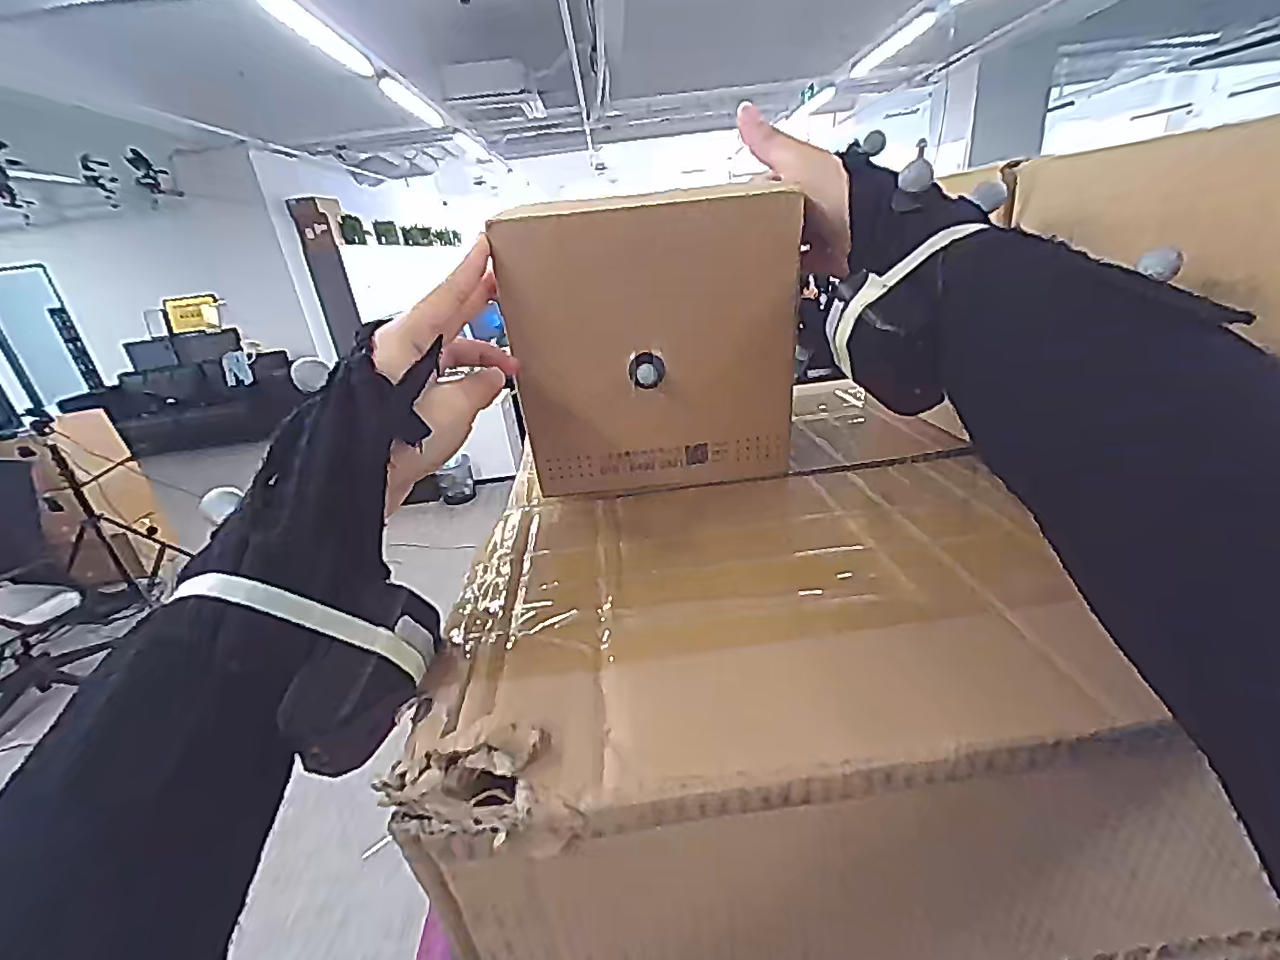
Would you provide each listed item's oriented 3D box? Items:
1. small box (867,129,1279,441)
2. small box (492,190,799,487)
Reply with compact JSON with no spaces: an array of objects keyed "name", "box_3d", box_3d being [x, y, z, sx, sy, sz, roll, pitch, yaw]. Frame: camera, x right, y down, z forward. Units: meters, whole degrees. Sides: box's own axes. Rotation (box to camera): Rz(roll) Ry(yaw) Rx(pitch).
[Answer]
[{"name":"small box","box_3d":[0.287,-0.134,0.400,0.179,0.176,0.168,-7,23,0]},{"name":"small box","box_3d":[0.006,-0.103,0.389,0.168,0.176,0.179,-5,28,-1]}]
